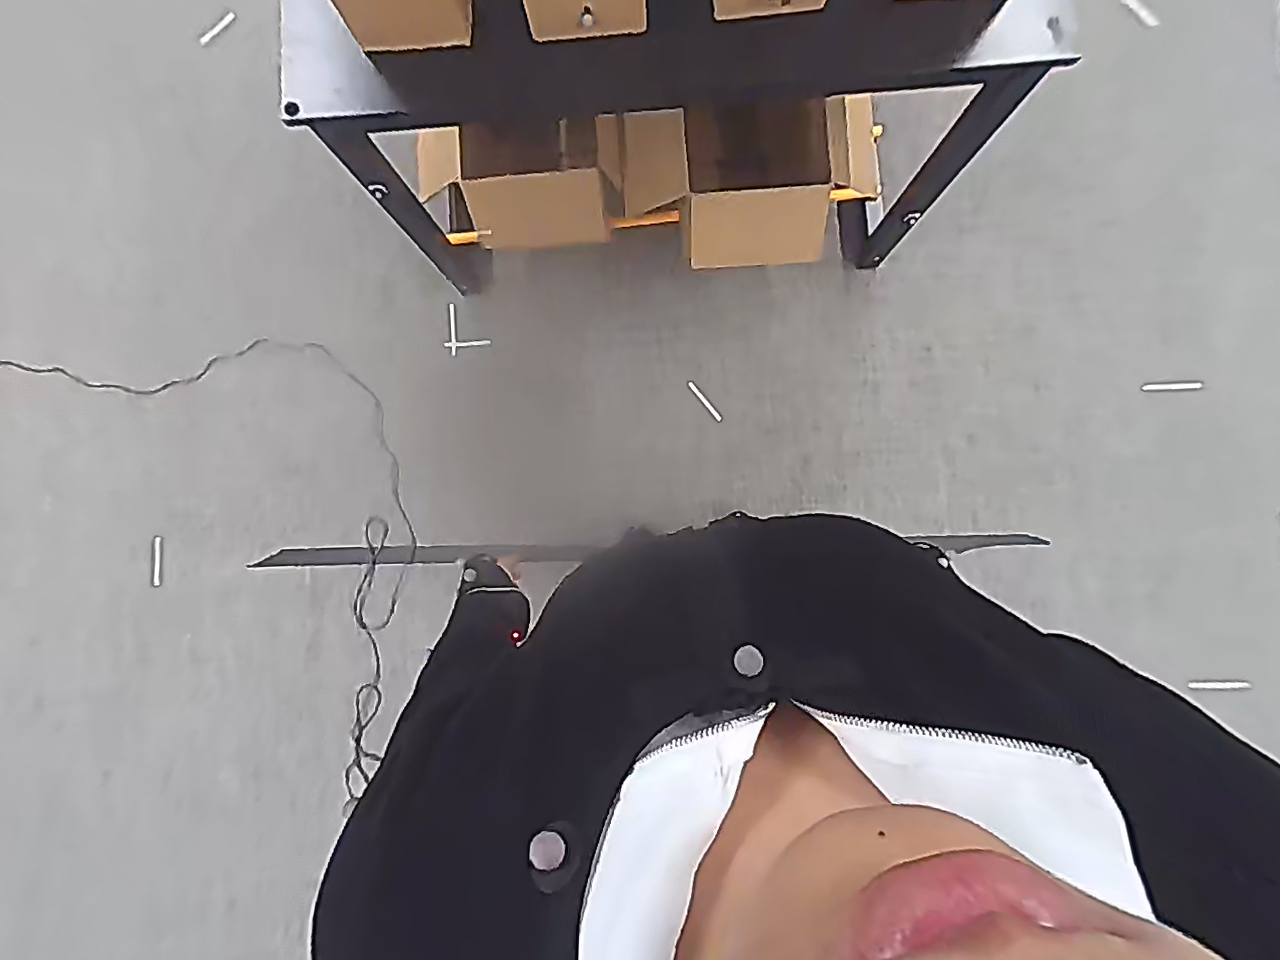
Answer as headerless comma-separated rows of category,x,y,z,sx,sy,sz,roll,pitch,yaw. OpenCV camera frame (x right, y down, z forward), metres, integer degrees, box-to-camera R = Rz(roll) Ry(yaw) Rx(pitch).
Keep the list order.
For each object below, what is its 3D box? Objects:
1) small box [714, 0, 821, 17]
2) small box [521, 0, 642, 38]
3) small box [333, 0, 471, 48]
small box,0.184,-0.792,0.738,0.168,0.176,0.179,-5,87,2
small box,-0.087,-0.759,0.745,0.179,0.176,0.168,-5,86,1
small box,-0.350,-0.748,0.753,0.179,0.176,0.168,-3,88,1
